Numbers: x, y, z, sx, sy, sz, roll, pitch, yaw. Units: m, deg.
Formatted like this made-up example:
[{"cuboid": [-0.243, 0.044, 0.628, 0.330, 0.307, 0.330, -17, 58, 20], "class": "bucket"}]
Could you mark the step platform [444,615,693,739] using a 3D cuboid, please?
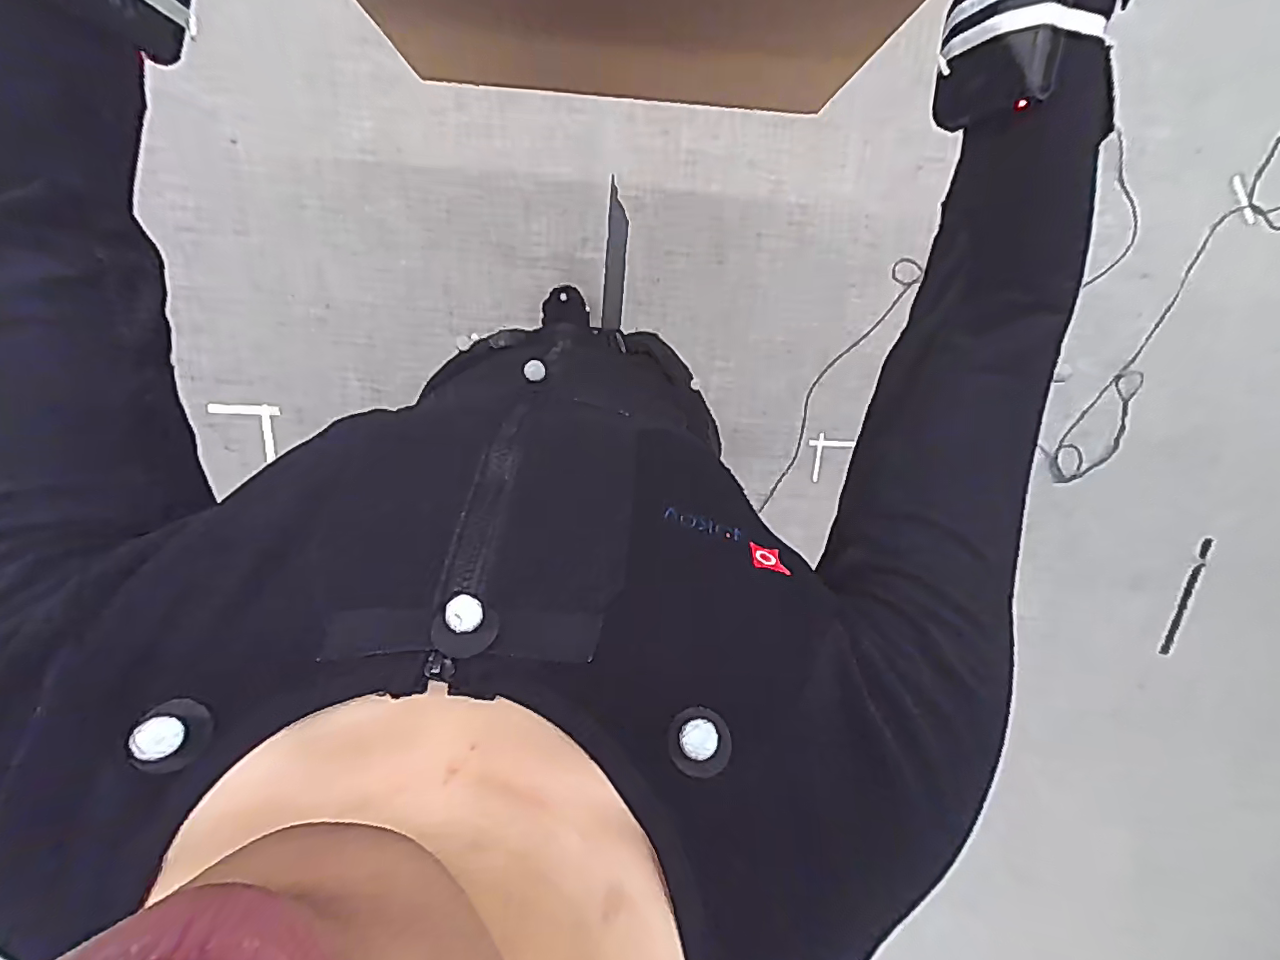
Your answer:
[{"cuboid": [-0.193, 0.557, 1.531, 0.684, 0.204, 0.286, 2, 104, -3], "class": "step platform"}]

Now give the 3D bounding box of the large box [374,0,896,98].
[{"cuboid": [-0.004, -0.501, 0.363, 0.408, 0.320, 0.320, 2, 107, -4], "class": "large box"}]
